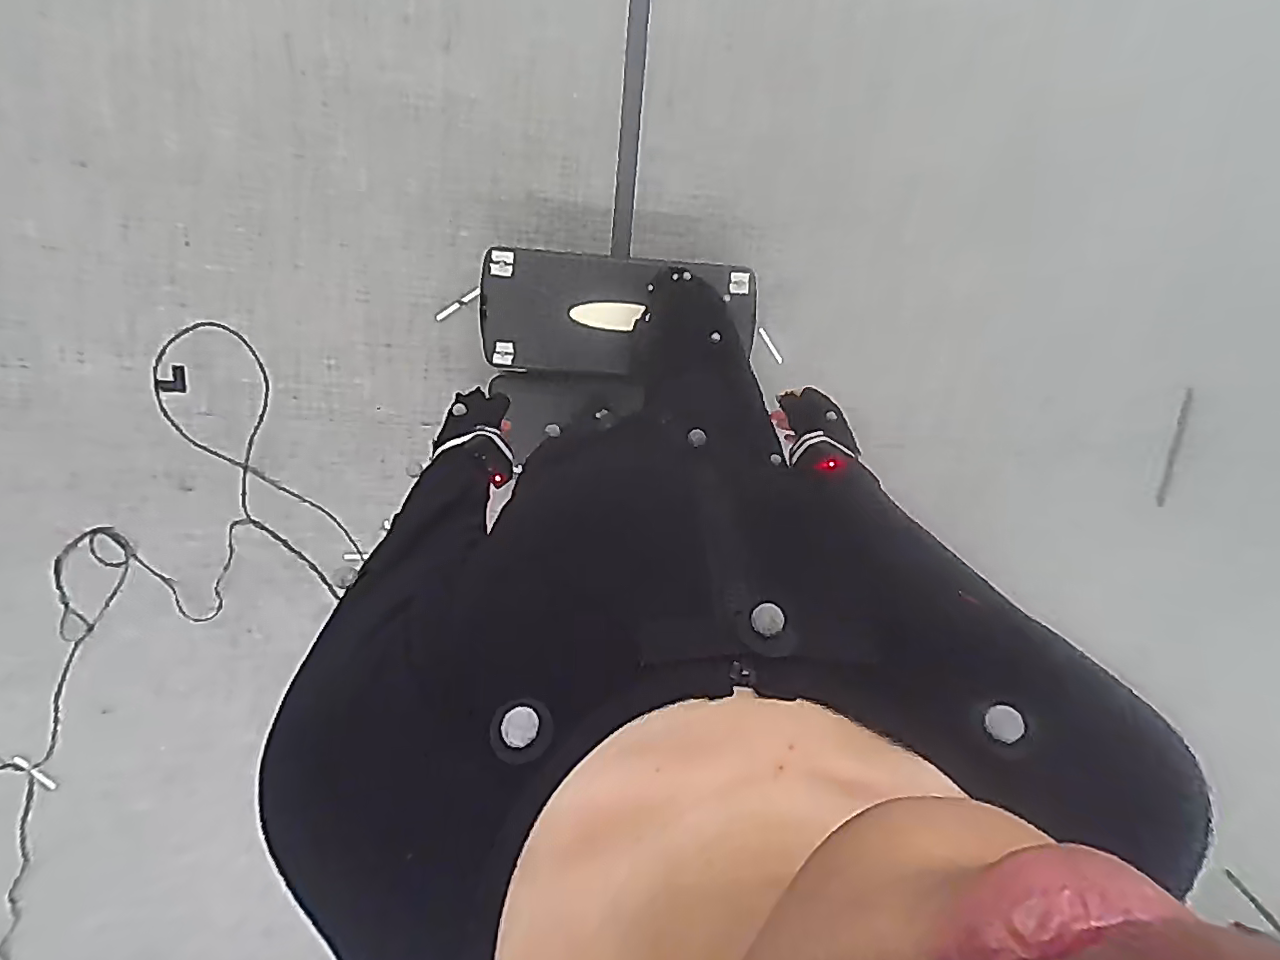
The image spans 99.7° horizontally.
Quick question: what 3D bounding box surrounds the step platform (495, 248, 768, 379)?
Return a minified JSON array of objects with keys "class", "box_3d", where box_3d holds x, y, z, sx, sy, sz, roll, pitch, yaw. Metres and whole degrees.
[{"class":"step platform","box_3d":[-0.021,-0.418,1.389,0.684,0.204,0.286,1,103,-8]}]
